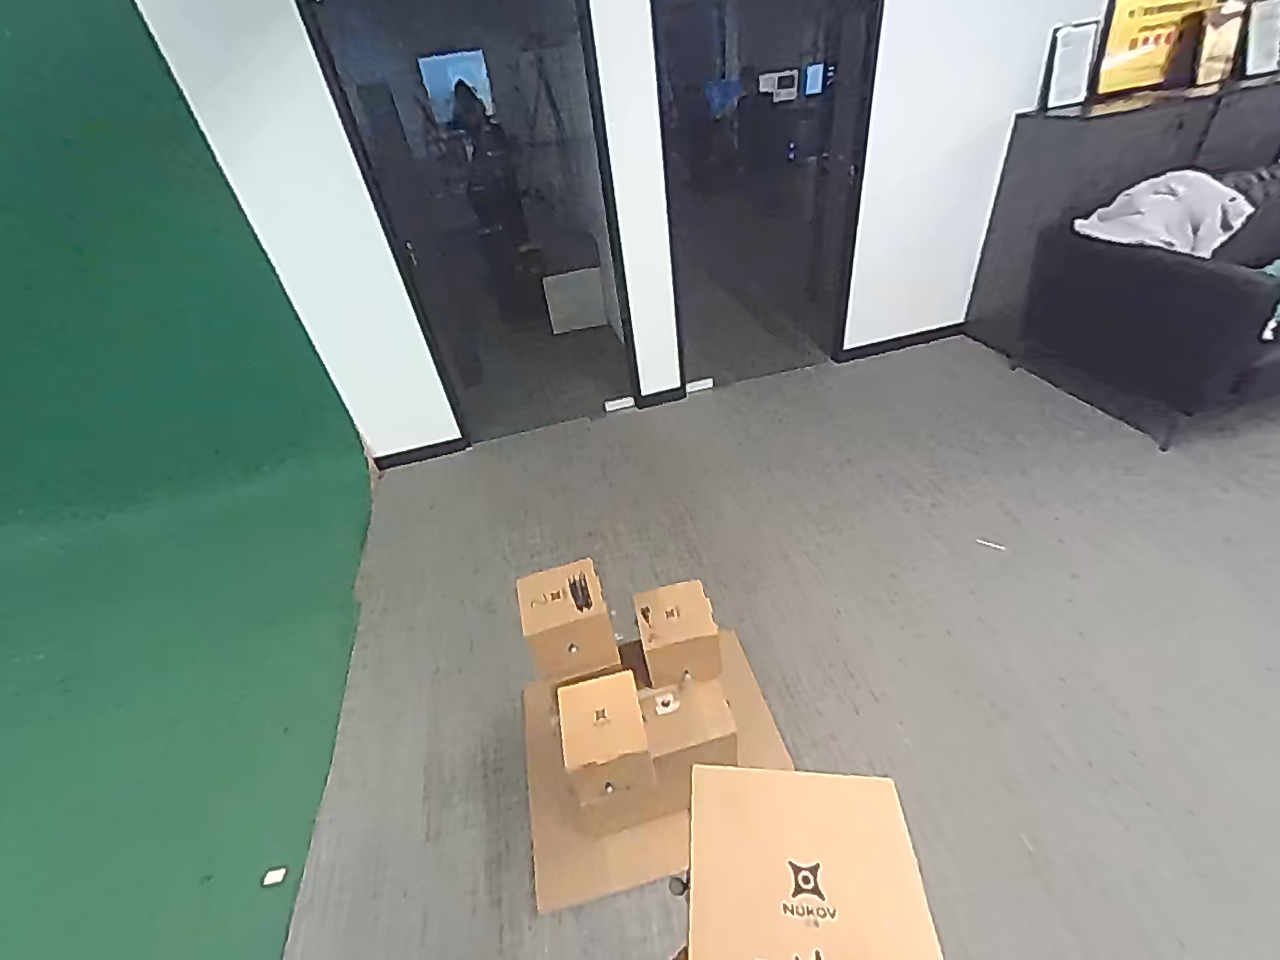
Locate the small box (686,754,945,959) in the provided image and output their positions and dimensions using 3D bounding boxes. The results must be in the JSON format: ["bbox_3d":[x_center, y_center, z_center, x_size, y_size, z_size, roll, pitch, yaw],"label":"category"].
[{"bbox_3d":[0.121,0.352,0.429,0.168,0.176,0.179,1,34,7],"label":"small box"}]

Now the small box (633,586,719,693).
[{"bbox_3d":[0.089,0.387,1.313,0.179,0.176,0.168,-12,38,-2],"label":"small box"}]

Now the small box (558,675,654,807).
[{"bbox_3d":[-0.072,0.548,1.136,0.168,0.176,0.179,-12,39,-6],"label":"small box"}]
